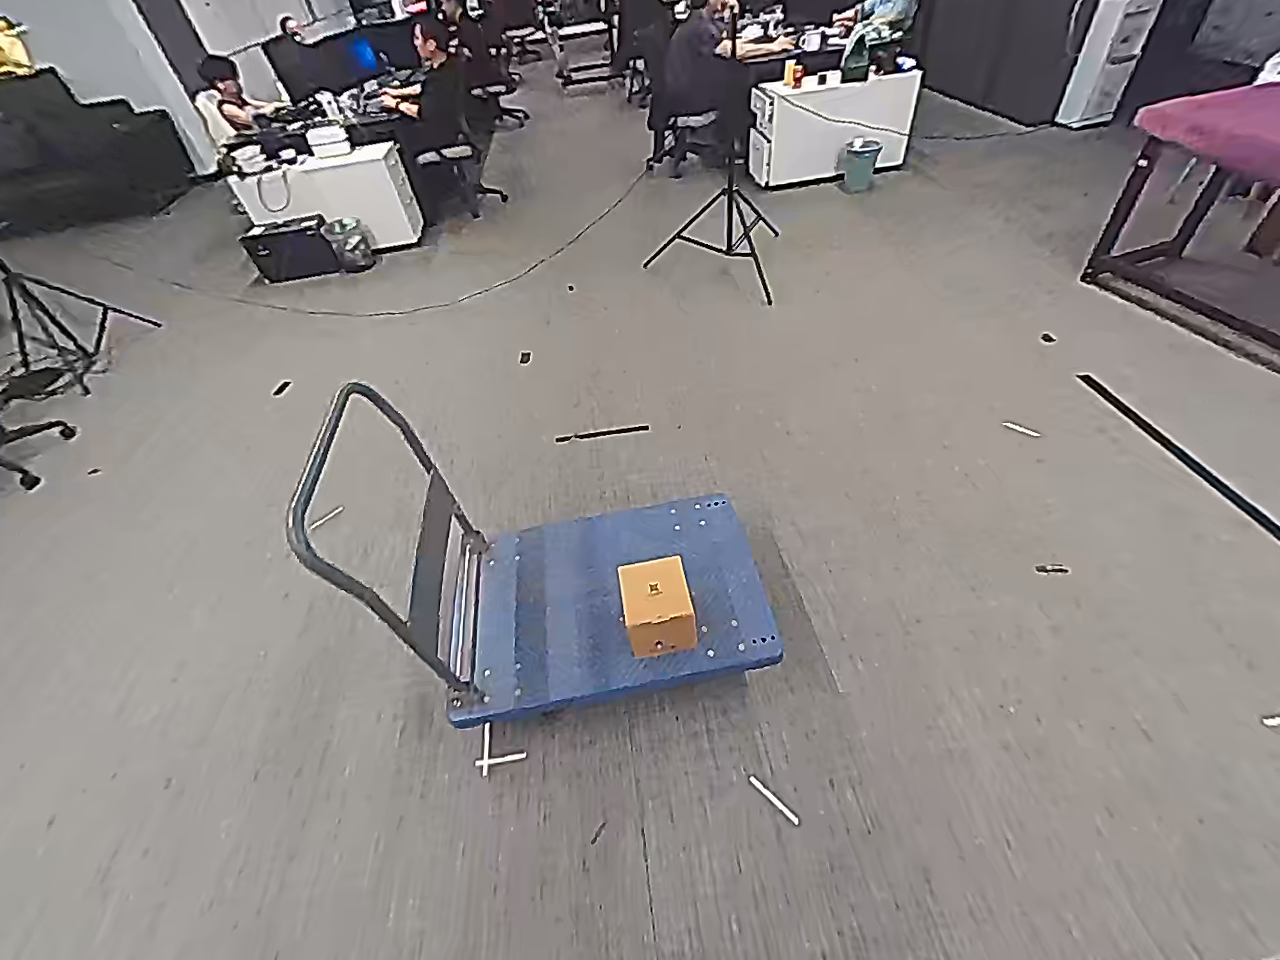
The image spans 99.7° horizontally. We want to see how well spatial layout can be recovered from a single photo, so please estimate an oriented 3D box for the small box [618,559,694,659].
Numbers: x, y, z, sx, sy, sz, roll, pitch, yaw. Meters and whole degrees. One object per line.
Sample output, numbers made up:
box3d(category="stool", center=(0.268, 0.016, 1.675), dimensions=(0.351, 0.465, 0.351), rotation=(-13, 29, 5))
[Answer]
box3d(category="small box", center=(0.041, 0.332, 1.388), dimensions=(0.168, 0.176, 0.179), rotation=(-11, 45, -2))
